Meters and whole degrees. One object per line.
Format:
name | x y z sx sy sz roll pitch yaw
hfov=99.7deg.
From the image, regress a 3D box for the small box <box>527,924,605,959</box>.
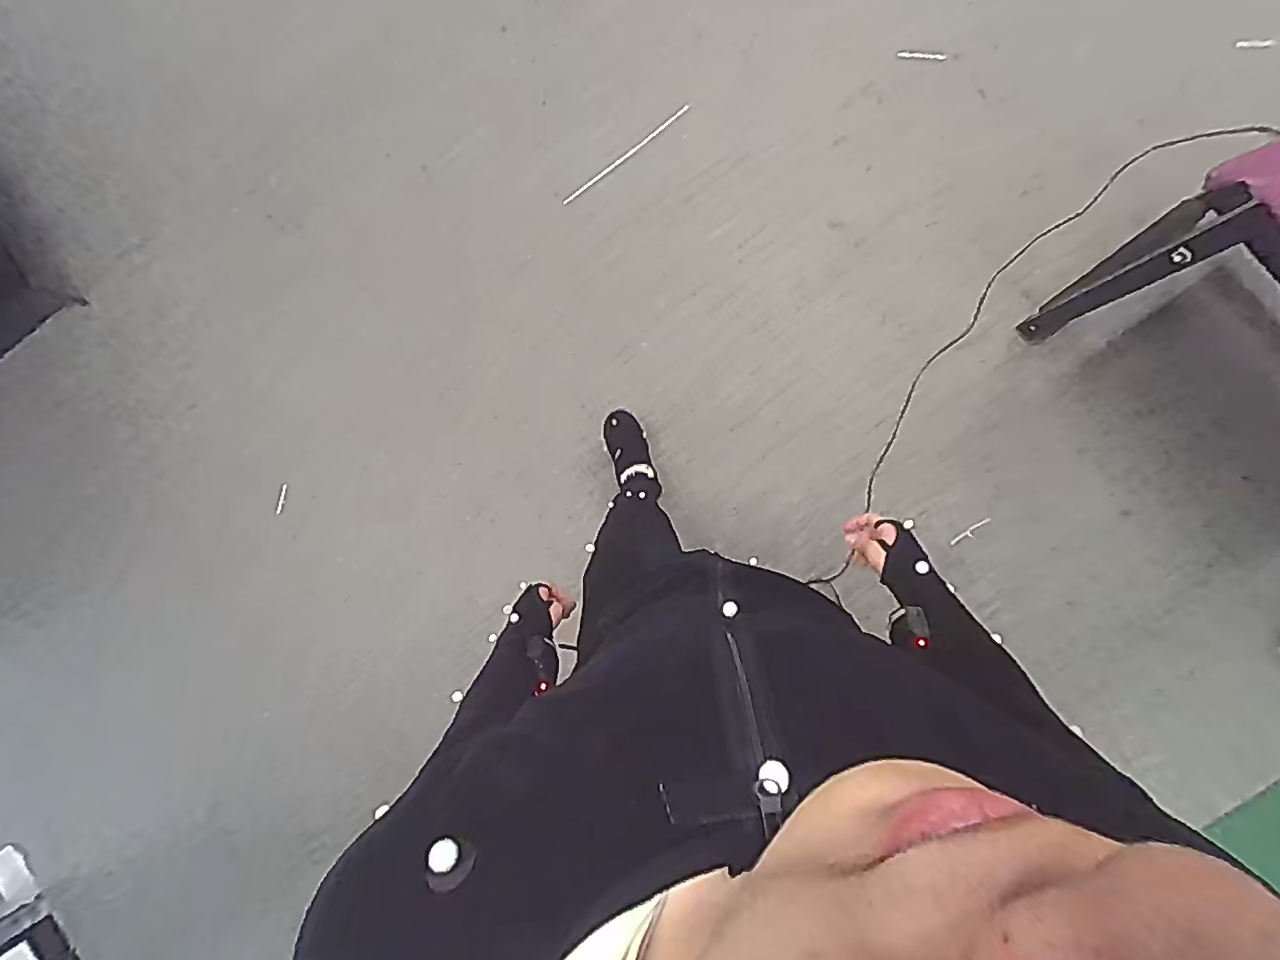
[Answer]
small box | -0.164 1.121 1.165 0.179 0.176 0.168 -31 84 7
